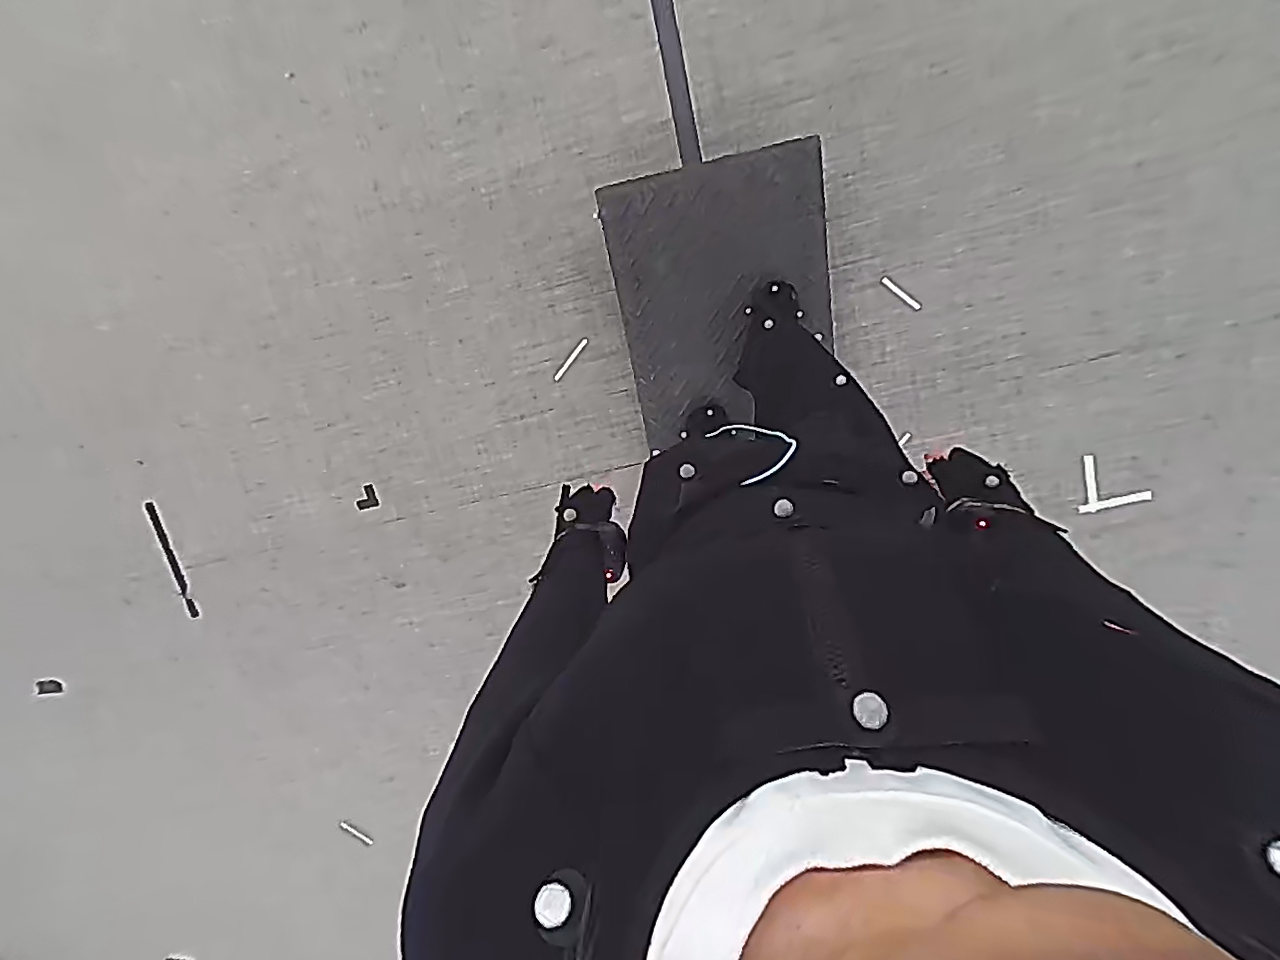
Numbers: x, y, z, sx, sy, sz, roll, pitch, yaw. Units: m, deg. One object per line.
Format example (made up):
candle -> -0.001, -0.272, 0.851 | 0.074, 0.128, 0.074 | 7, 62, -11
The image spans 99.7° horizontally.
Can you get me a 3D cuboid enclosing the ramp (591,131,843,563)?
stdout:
ramp -> 0.232, -0.244, 1.354 | 0.509, 0.206, 0.991 | -12, 103, 7
